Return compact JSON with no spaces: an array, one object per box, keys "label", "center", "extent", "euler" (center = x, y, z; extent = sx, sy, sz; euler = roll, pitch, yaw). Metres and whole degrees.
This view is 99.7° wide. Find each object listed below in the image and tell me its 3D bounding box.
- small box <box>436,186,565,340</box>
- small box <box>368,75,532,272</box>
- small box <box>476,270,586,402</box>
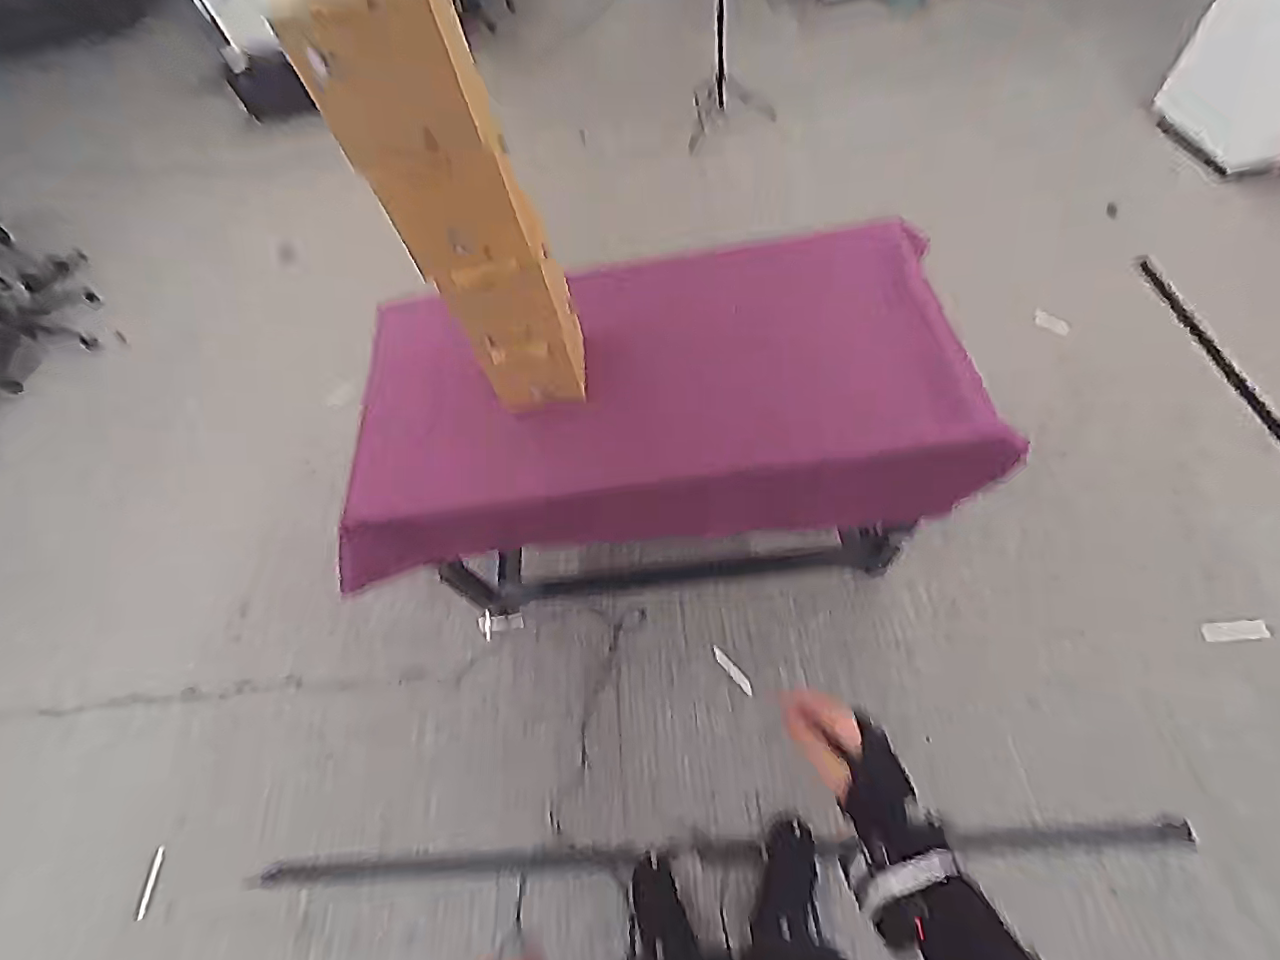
[{"label":"small box","center":[-0.229,-0.358,0.921],"extent":[0.168,0.176,0.179],"euler":[-10,59,3]},{"label":"small box","center":[-0.265,-0.438,0.783],"extent":[0.168,0.176,0.179],"euler":[-14,60,1]},{"label":"small box","center":[-0.205,-0.278,1.062],"extent":[0.168,0.176,0.179],"euler":[-7,60,5]}]
